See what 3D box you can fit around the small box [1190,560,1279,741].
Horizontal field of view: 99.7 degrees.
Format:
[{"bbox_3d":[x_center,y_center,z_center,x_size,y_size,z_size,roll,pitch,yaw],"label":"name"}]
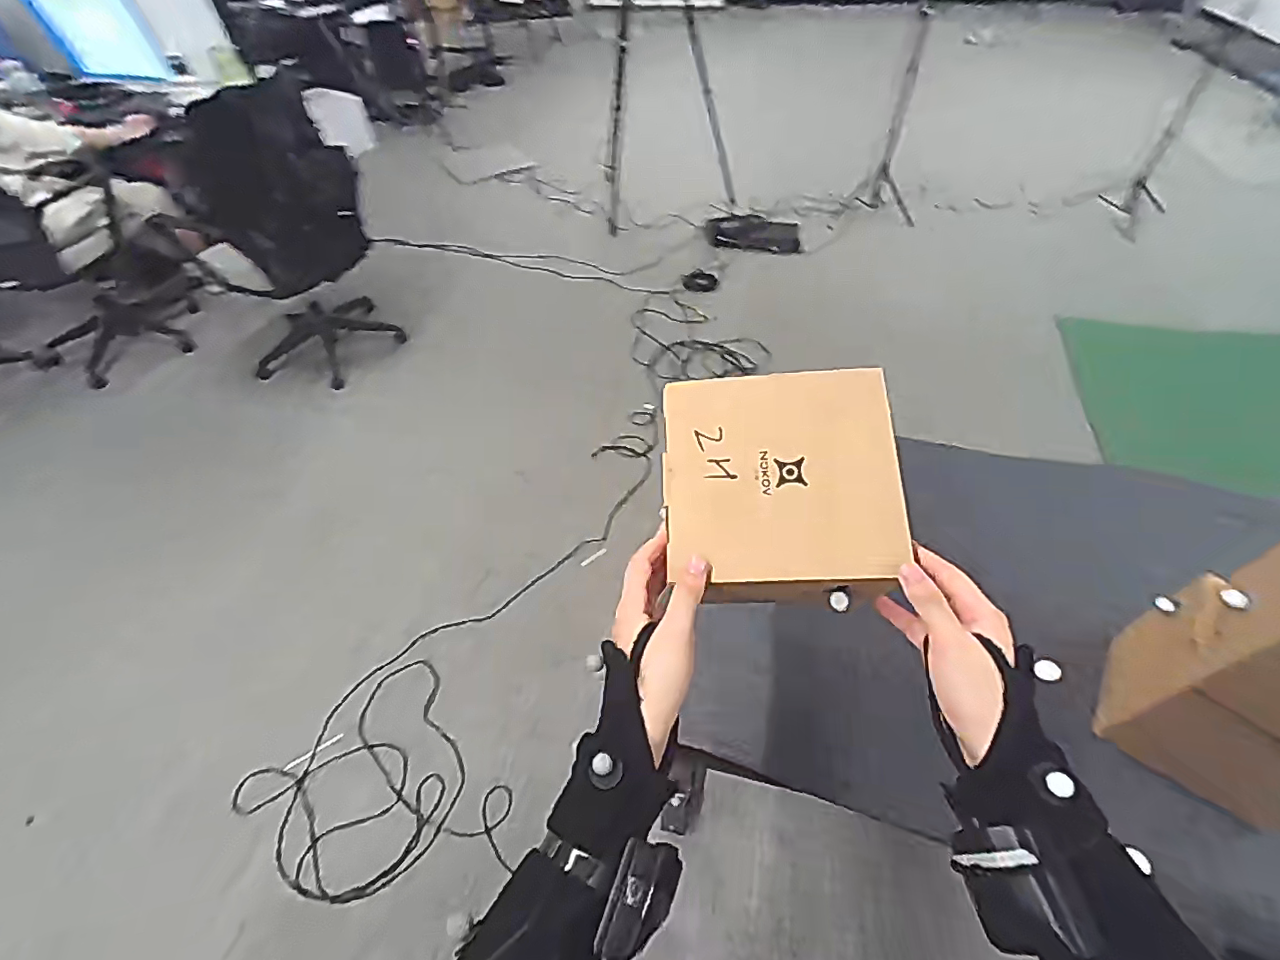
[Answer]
[{"bbox_3d":[0.664,0.159,0.476,0.168,0.176,0.179,-37,57,-27],"label":"small box"}]
